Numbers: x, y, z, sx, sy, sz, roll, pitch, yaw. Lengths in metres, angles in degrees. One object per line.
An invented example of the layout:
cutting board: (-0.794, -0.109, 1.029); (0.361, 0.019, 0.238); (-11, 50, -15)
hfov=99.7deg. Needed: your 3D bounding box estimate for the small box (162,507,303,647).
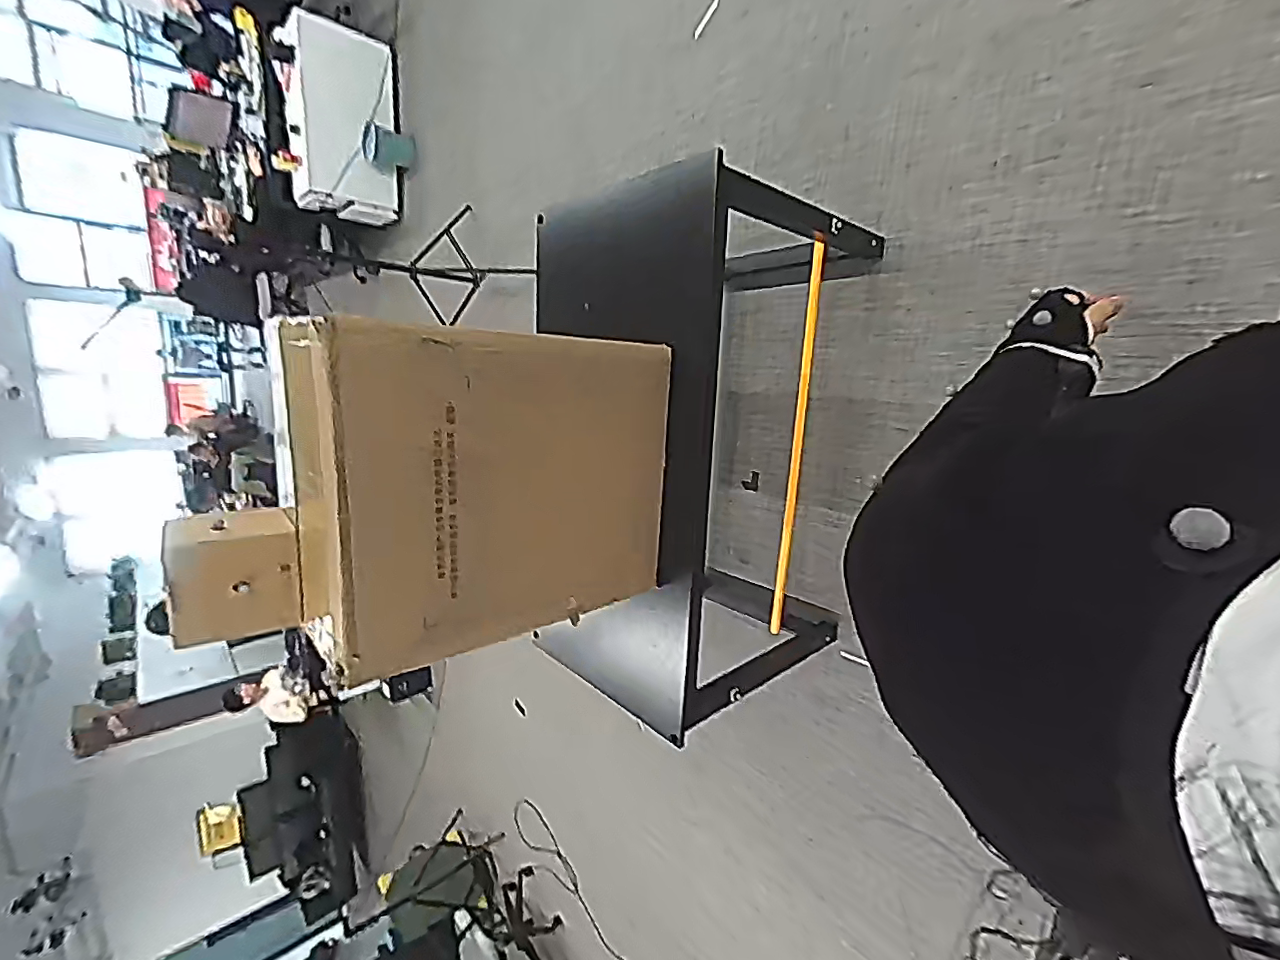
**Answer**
small box: (-0.669, 0.147, 0.896); (0.179, 0.176, 0.168); (16, 106, 47)
